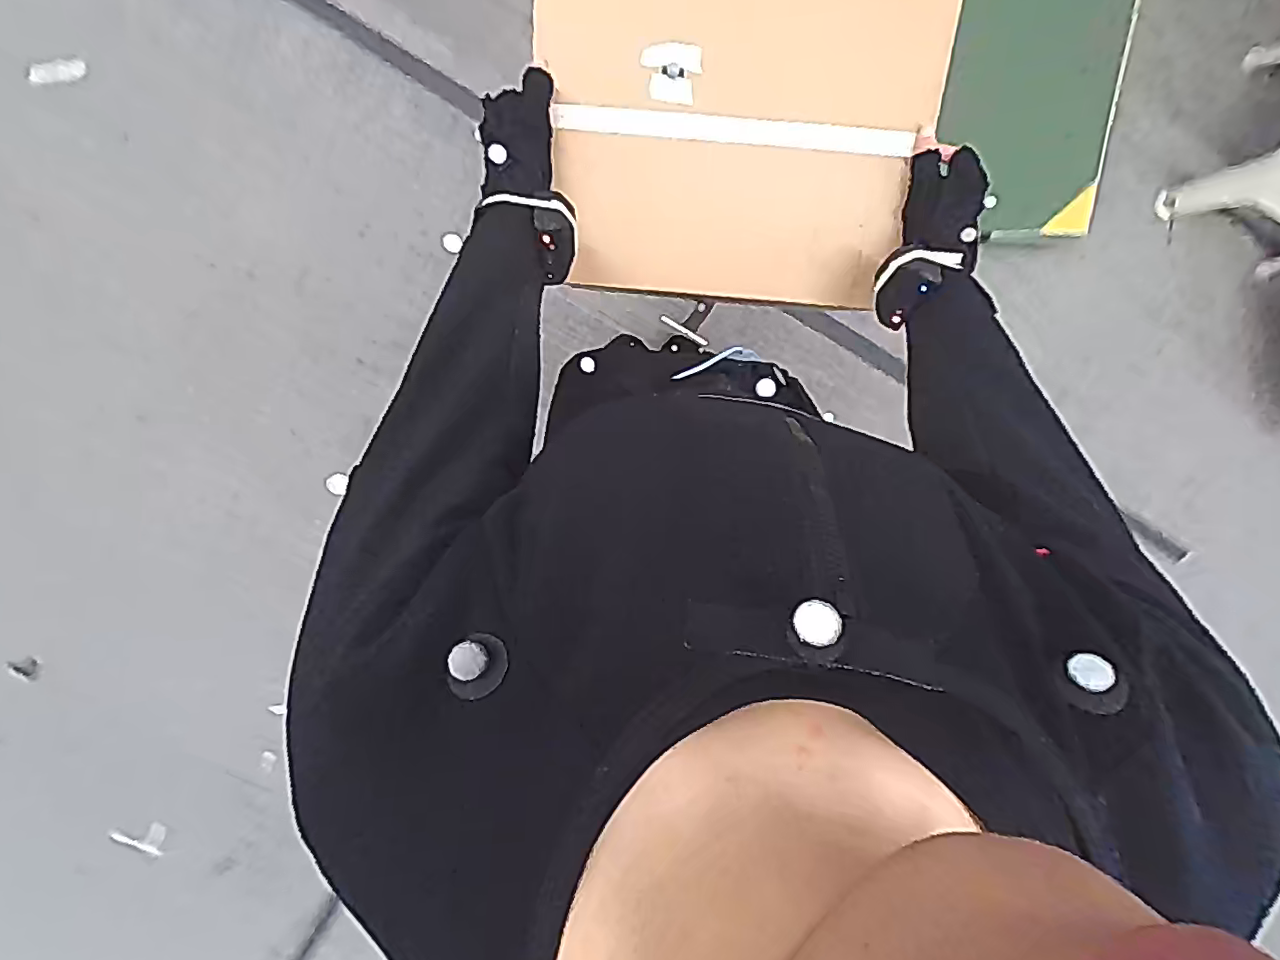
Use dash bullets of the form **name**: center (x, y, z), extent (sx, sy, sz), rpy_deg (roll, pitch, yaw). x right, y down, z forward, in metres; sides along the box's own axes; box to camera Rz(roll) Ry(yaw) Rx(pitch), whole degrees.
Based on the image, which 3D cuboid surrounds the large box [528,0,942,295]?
- **large box**: center (0.089, -0.411, 0.691), extent (0.408, 0.320, 0.320), rpy_deg (4, 108, 0)
